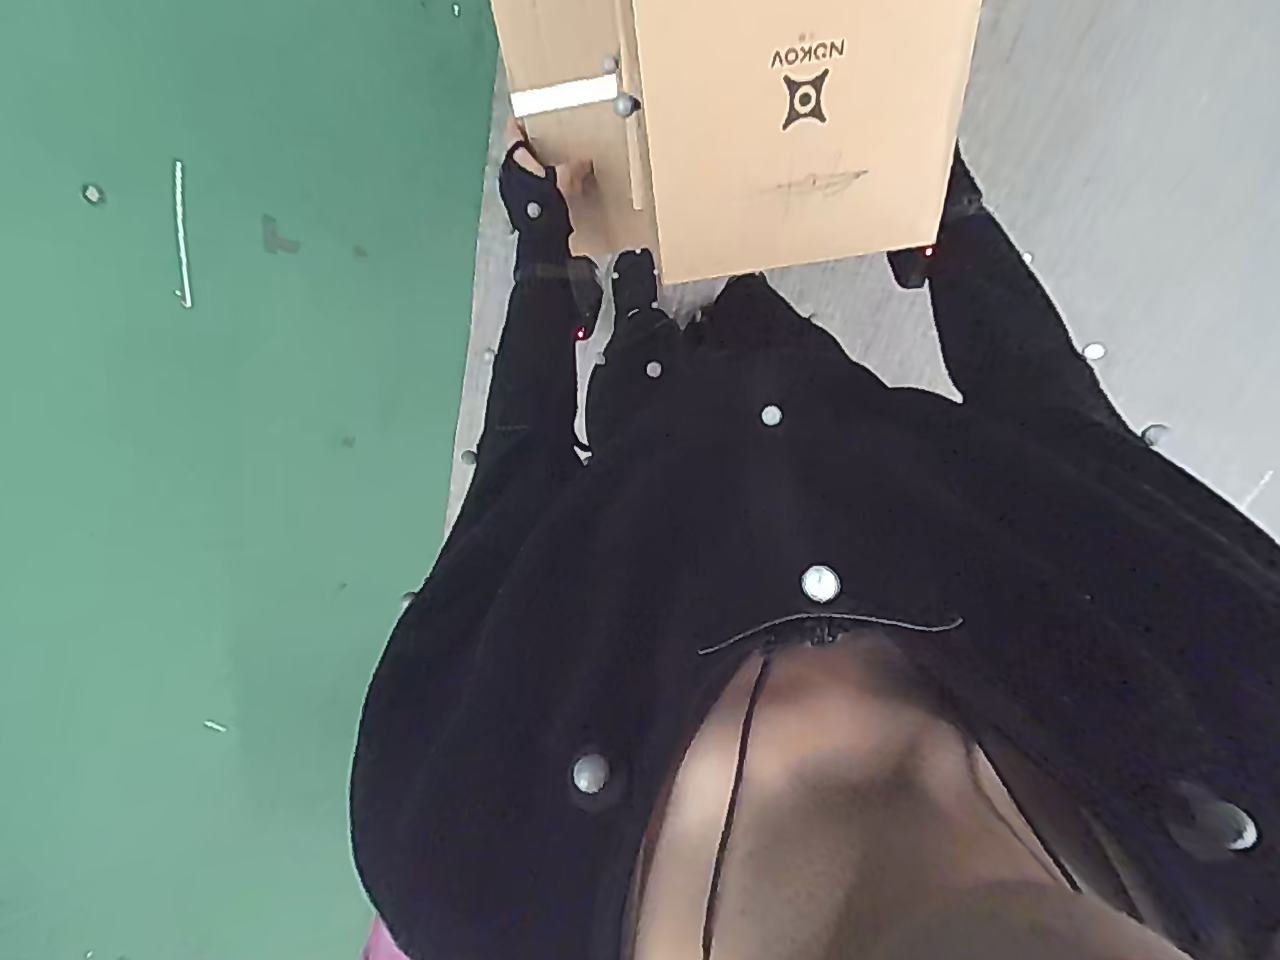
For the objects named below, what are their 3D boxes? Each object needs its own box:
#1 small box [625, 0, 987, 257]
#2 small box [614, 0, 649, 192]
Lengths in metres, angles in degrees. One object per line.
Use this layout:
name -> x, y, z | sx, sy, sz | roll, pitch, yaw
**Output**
small box -> 0.080, -0.257, 0.329 | 0.168, 0.176, 0.179 | -7, 127, 3
small box -> 0.066, -0.361, 0.456 | 0.168, 0.176, 0.179 | -5, 129, 0
